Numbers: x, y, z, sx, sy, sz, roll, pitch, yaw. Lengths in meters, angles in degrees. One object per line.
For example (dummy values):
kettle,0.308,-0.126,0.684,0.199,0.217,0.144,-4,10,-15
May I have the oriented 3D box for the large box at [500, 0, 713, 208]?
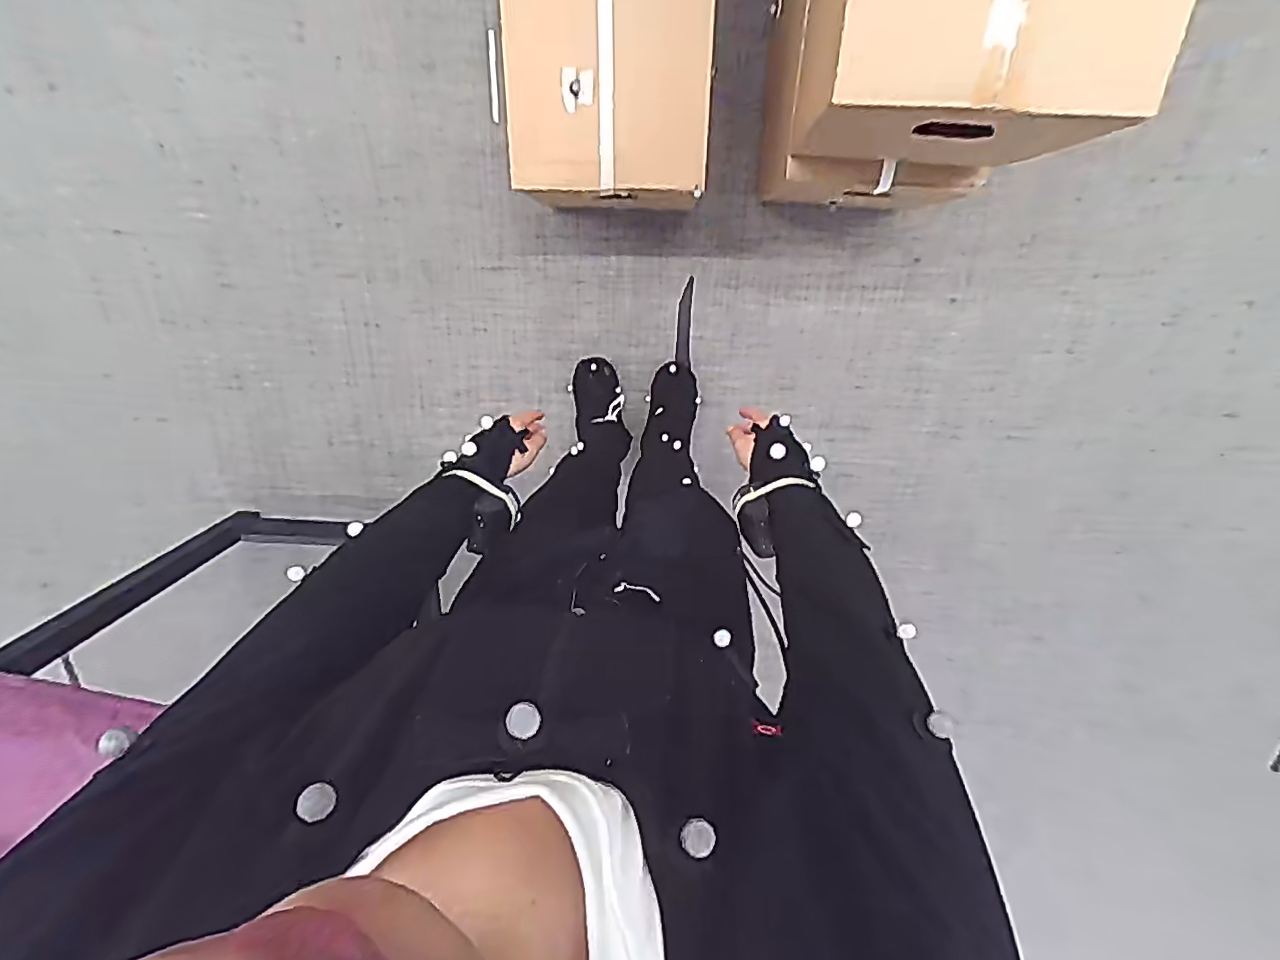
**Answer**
large box,-0.044,-0.706,0.932,0.320,0.320,0.408,2,112,2
